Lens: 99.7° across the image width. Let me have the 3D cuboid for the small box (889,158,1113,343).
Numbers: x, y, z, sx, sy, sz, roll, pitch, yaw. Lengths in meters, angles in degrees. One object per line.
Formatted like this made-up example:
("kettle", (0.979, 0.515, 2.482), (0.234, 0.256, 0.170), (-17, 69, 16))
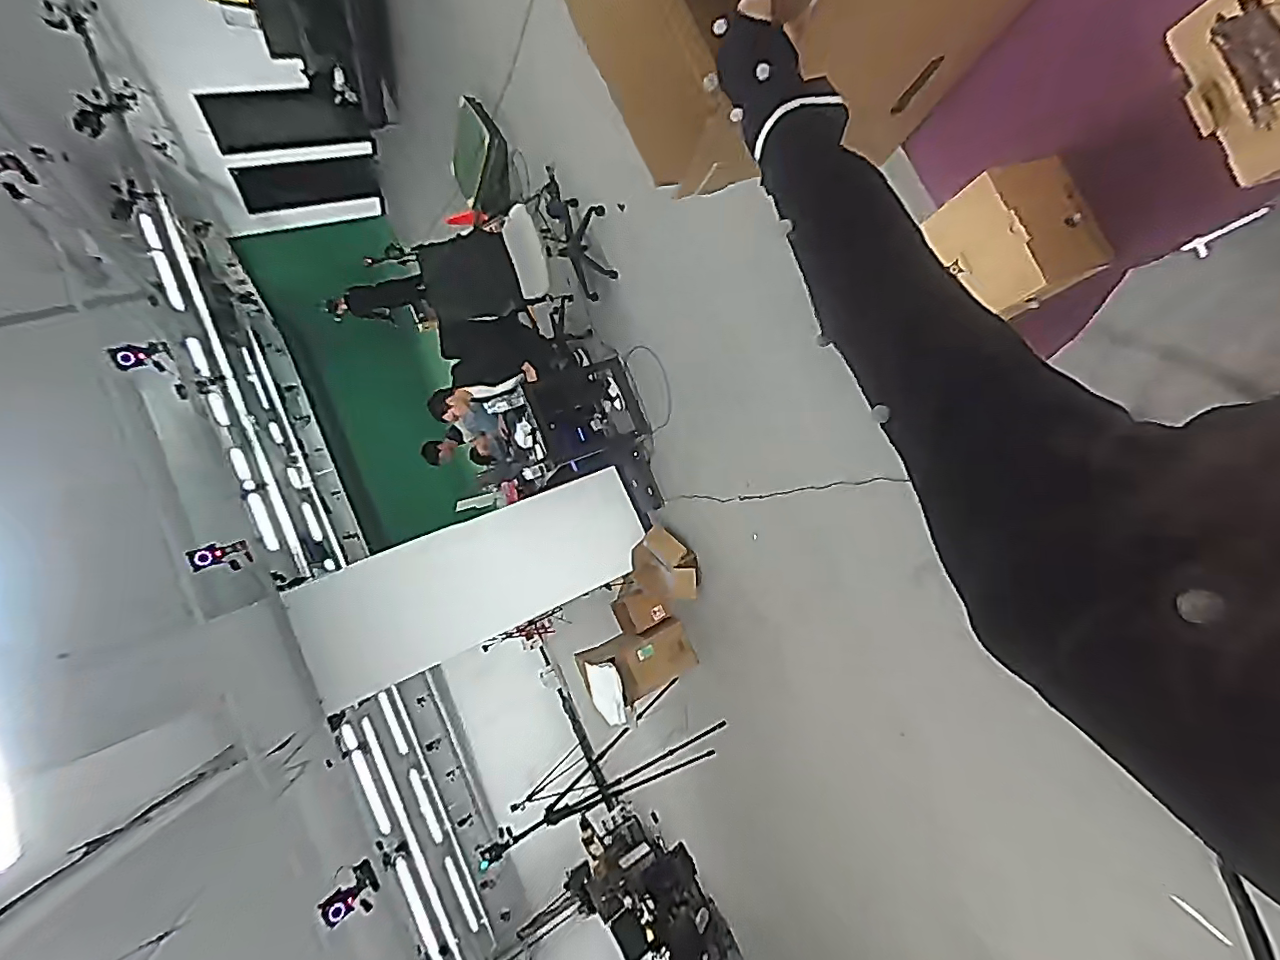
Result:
("small box", (0.506, -0.322, 0.771), (0.168, 0.176, 0.179), (66, 156, 5))
